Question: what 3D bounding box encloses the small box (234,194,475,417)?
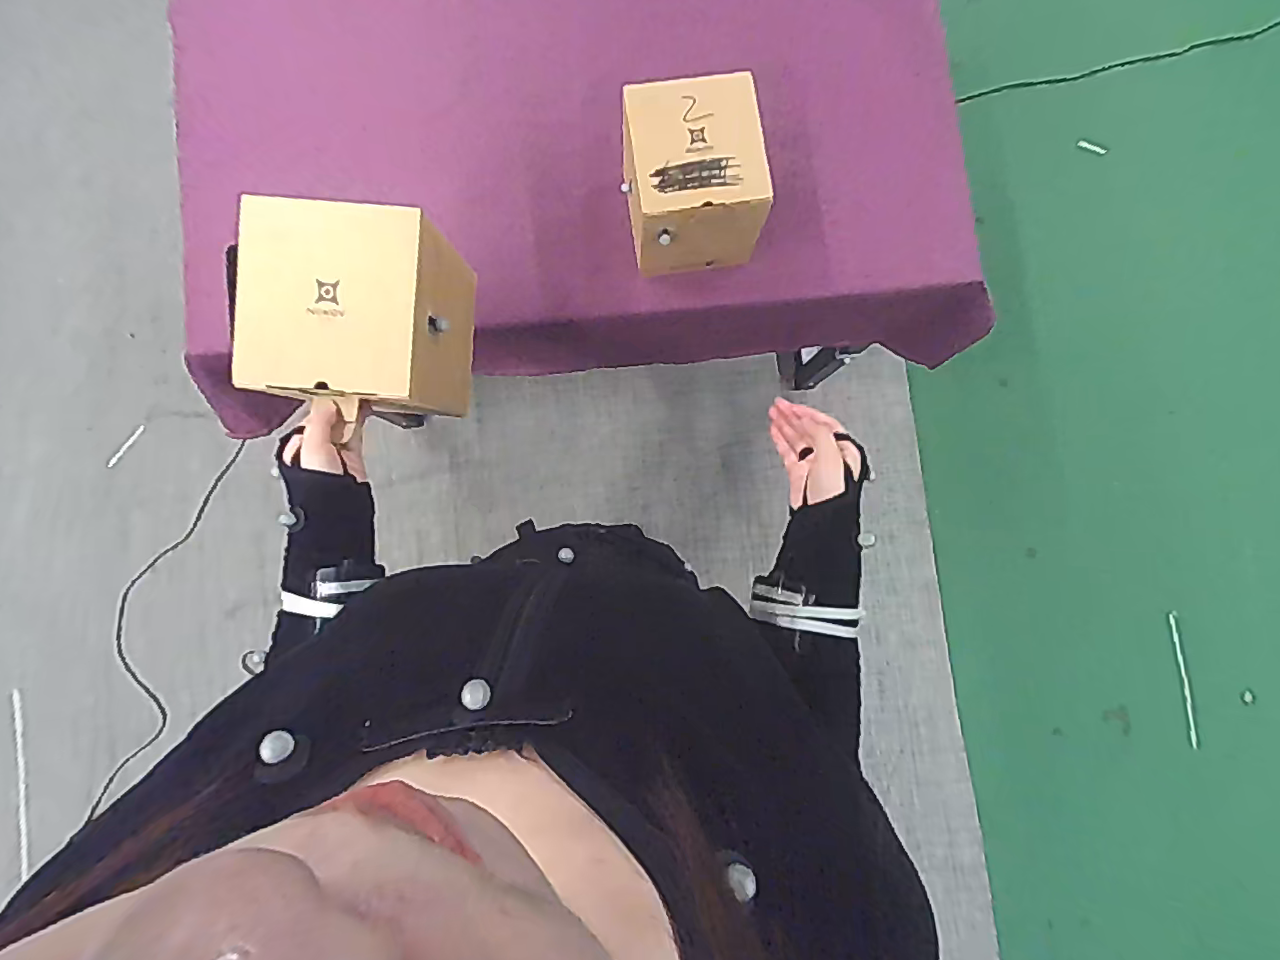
[{"bbox_3d":[-0.282,-0.168,0.572,0.168,0.176,0.179,5,92,-1],"label":"small box"}]
